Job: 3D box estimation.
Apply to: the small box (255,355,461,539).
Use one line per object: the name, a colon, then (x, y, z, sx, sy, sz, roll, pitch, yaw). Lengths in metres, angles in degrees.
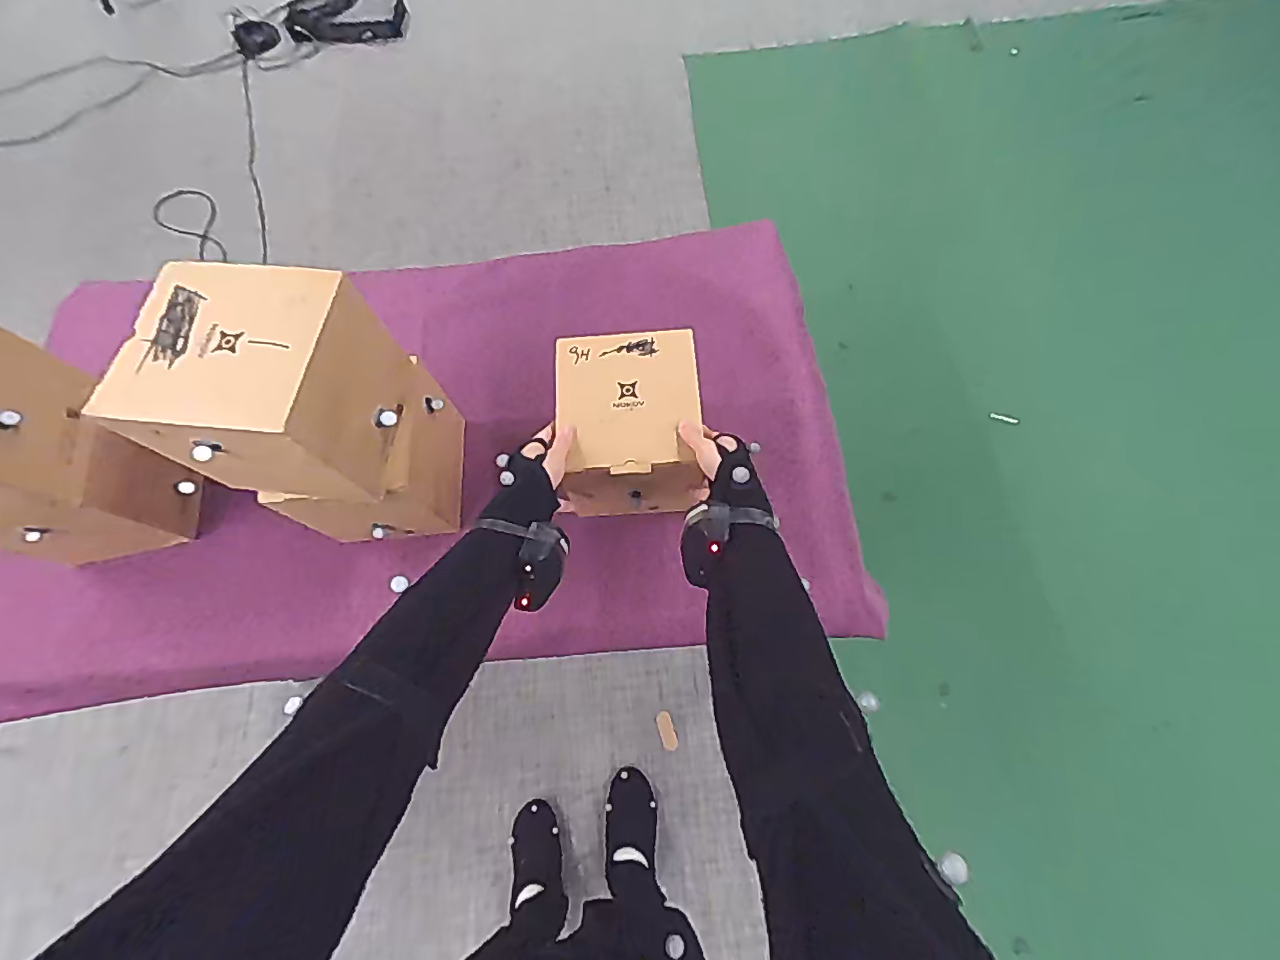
small box: (-0.339, -0.035, 0.690, 0.168, 0.176, 0.179, -5, 68, 1)

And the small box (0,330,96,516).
small box: (-0.716, -0.062, 0.545, 0.179, 0.176, 0.168, -13, 70, -2)

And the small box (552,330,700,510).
small box: (-0.014, -0.064, 0.686, 0.168, 0.176, 0.179, -3, 69, 1)

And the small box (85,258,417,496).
small box: (-0.356, -0.092, 0.537, 0.179, 0.176, 0.168, 5, 69, 4)

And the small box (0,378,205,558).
small box: (-0.715, -0.006, 0.697, 0.179, 0.176, 0.168, -10, 69, -2)
